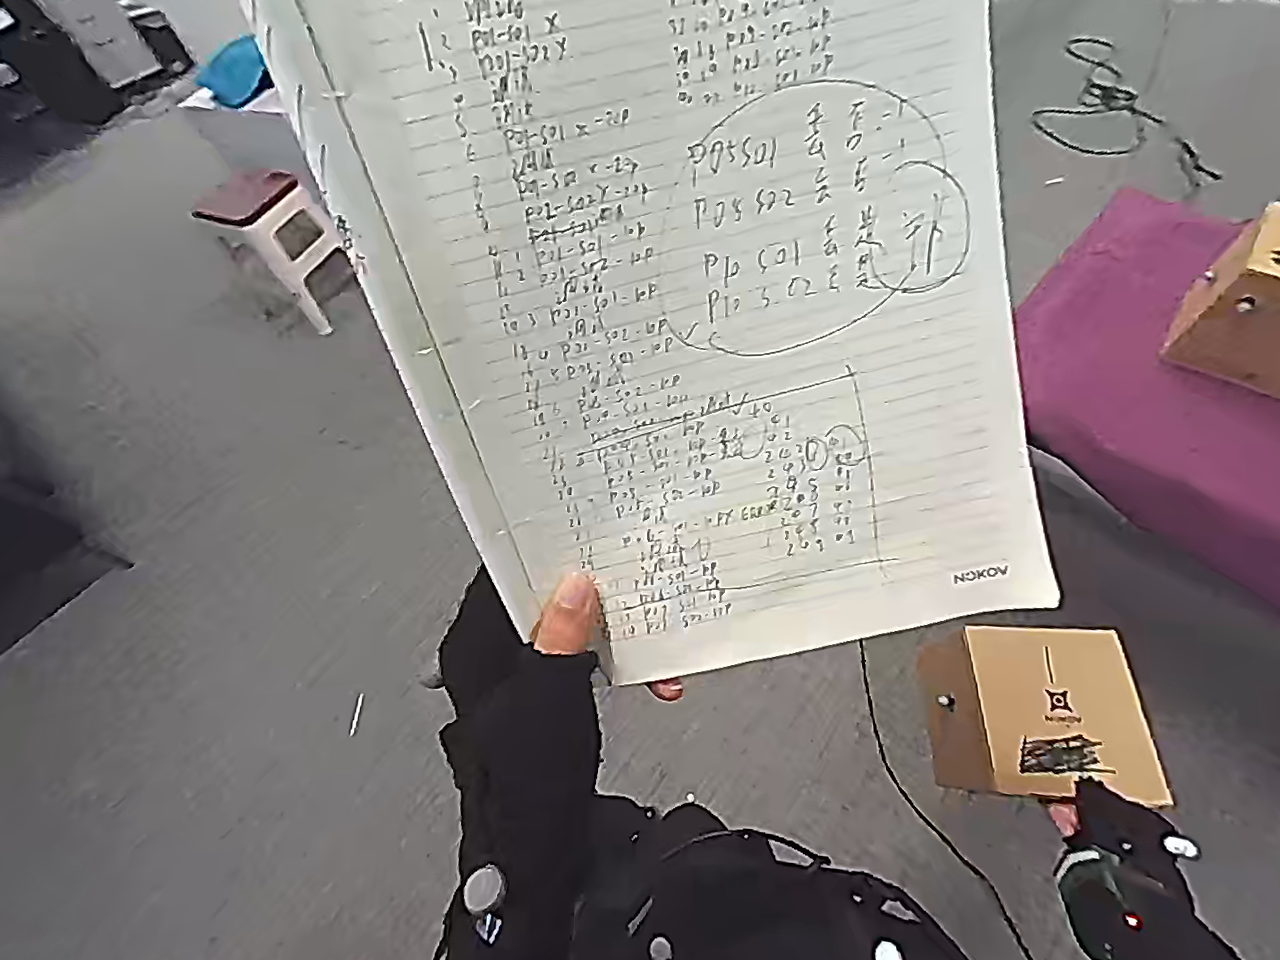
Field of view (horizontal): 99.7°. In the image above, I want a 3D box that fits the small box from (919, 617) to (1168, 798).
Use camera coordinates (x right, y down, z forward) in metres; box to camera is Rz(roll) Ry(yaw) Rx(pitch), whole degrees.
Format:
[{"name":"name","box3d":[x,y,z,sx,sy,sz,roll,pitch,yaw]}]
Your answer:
[{"name":"small box","box3d":[0.464,0.275,0.659,0.168,0.176,0.179,1,63,7]}]
